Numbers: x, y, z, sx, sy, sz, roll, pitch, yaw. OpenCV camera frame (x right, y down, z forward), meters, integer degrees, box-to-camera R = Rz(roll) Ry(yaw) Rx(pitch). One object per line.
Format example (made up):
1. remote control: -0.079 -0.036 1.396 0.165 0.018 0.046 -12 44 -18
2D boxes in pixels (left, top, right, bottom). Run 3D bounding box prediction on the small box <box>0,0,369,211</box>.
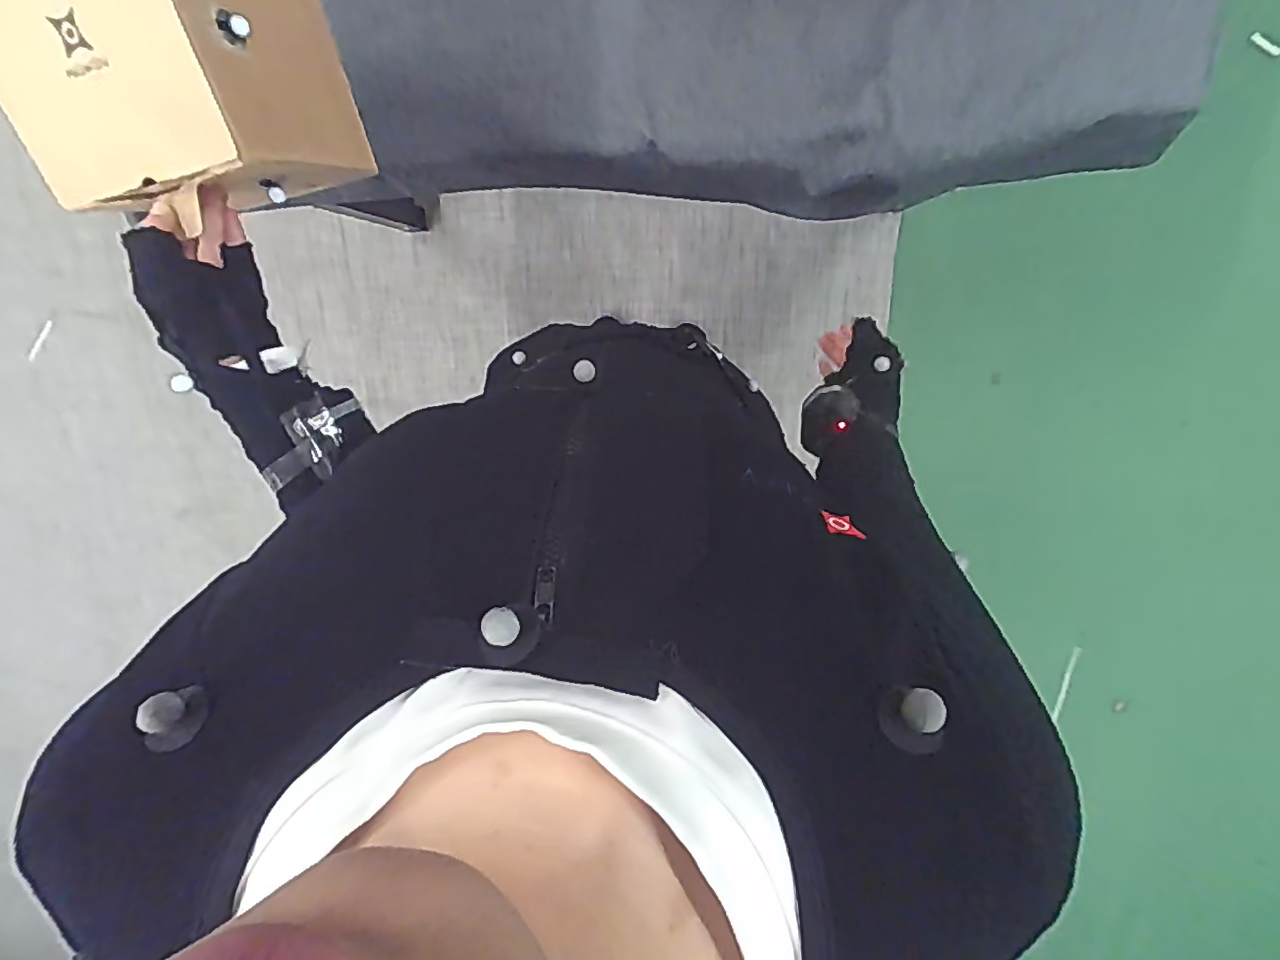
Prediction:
1. small box: -0.349 -0.319 0.413 0.168 0.176 0.179 -7 115 12
